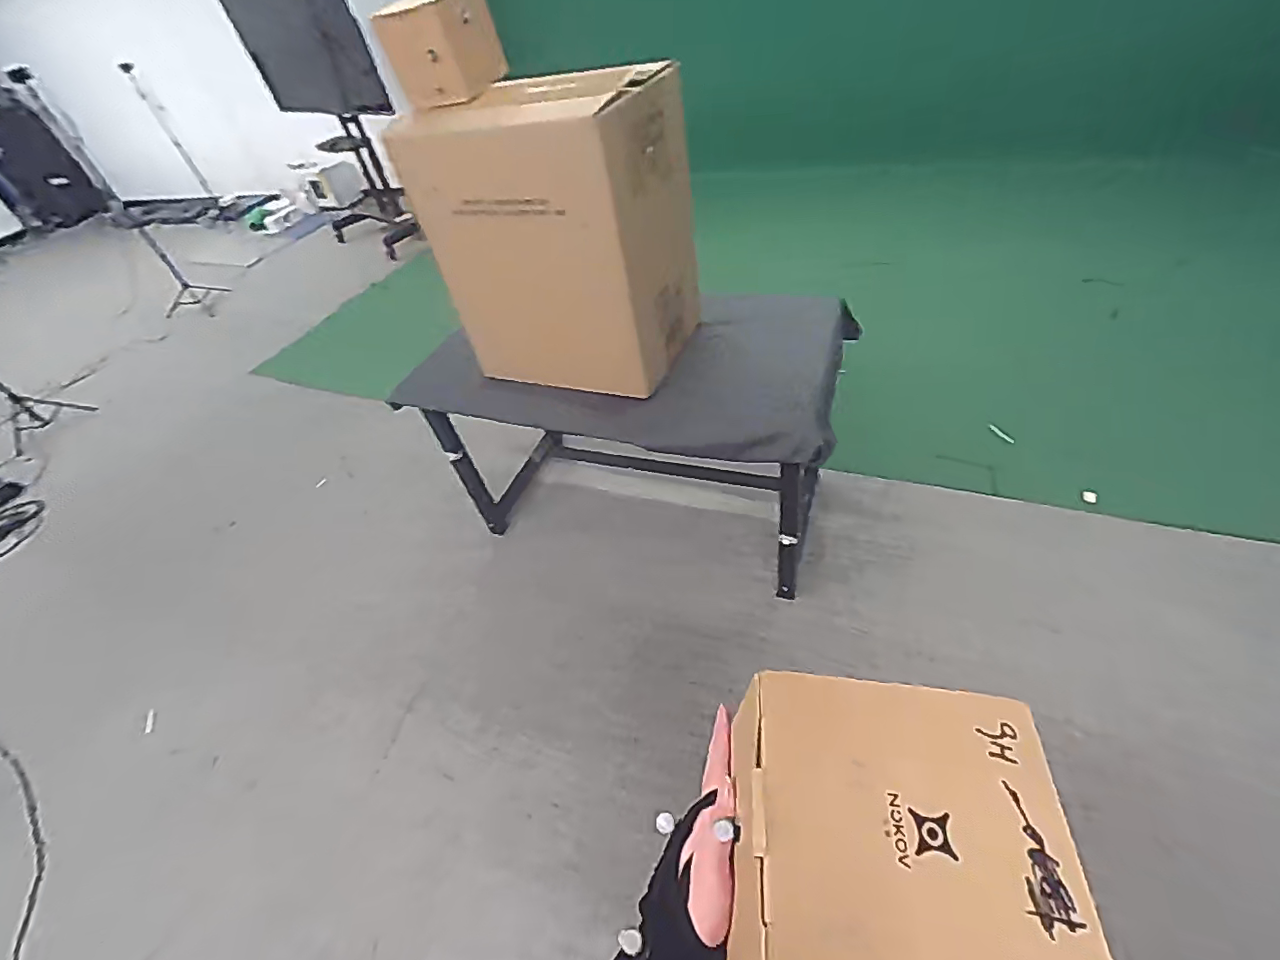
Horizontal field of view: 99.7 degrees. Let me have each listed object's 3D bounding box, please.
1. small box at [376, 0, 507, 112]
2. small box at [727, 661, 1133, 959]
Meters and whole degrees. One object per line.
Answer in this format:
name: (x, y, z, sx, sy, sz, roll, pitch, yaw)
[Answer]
small box: (-0.413, -0.912, 1.160, 0.168, 0.176, 0.179, 10, 52, 21)
small box: (0.152, 0.238, 0.352, 0.179, 0.176, 0.168, 5, 48, 4)
